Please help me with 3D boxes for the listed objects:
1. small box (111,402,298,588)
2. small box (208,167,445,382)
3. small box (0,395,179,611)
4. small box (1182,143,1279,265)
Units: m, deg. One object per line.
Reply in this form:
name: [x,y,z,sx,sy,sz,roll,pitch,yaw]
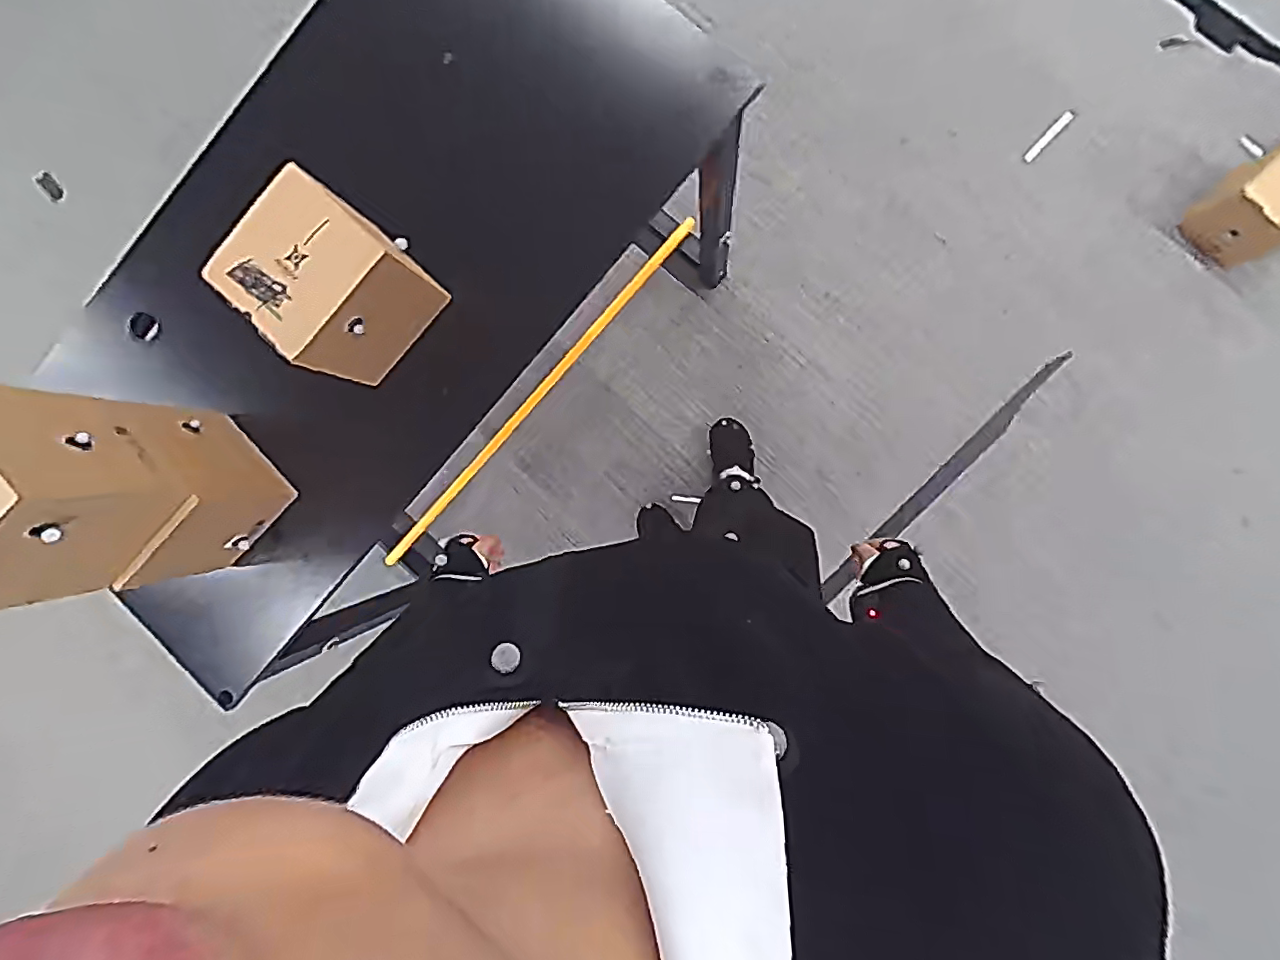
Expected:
small box: [-0.634,0.019,0.748,0.179,0.176,0.168,45,96,3]
small box: [-0.397,-0.253,0.716,0.168,0.176,0.179,43,94,4]
small box: [-0.661,0.020,0.585,0.179,0.176,0.168,-45,85,6]
small box: [1.418,-0.629,1.237,0.168,0.176,0.179,44,96,4]
